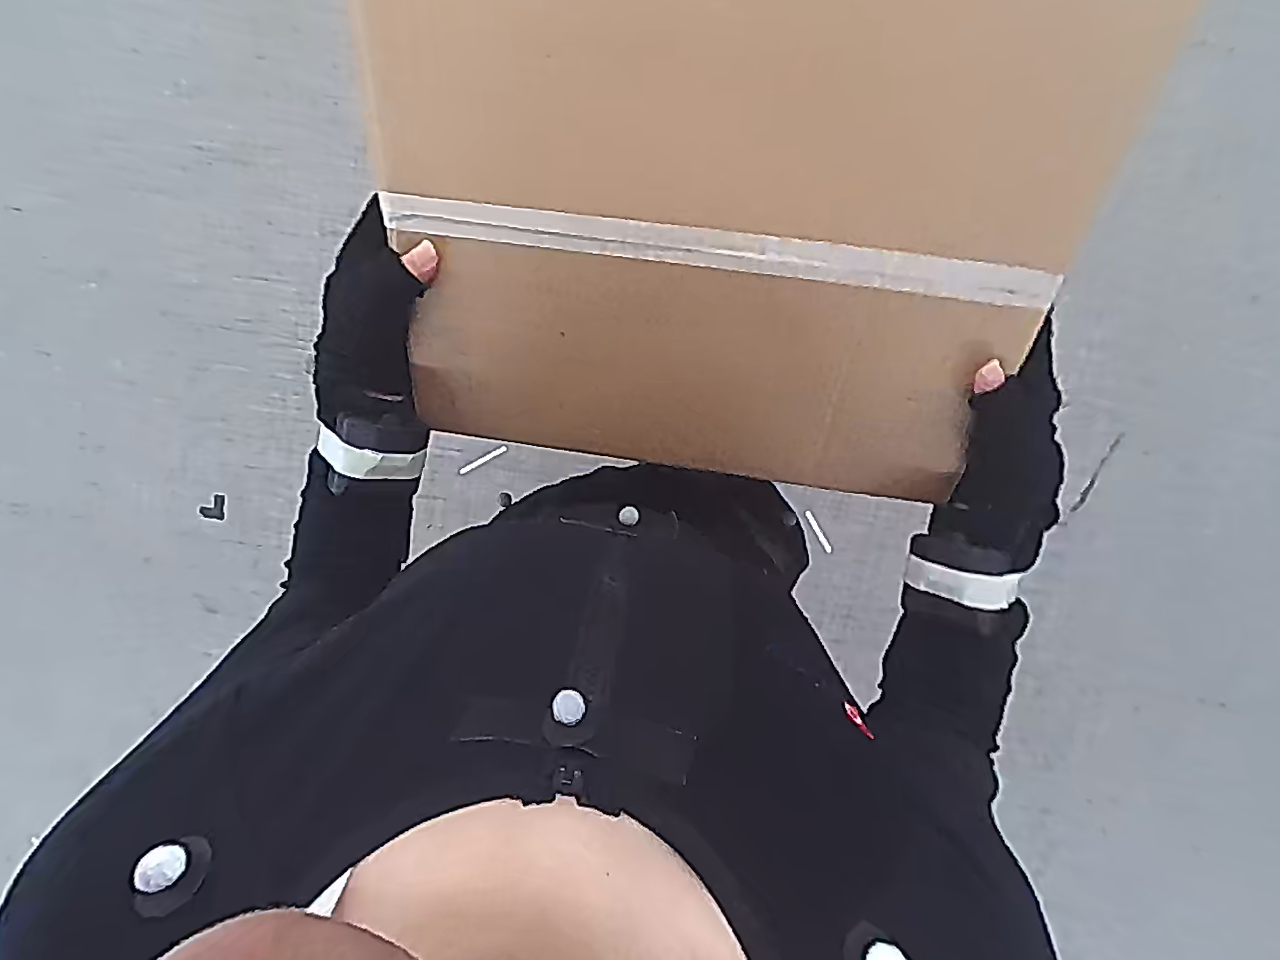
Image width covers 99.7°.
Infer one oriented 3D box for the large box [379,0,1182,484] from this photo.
[{"bbox_3d":[0.063,-0.230,0.457,0.408,0.320,0.320,9,126,3],"label":"large box"}]
